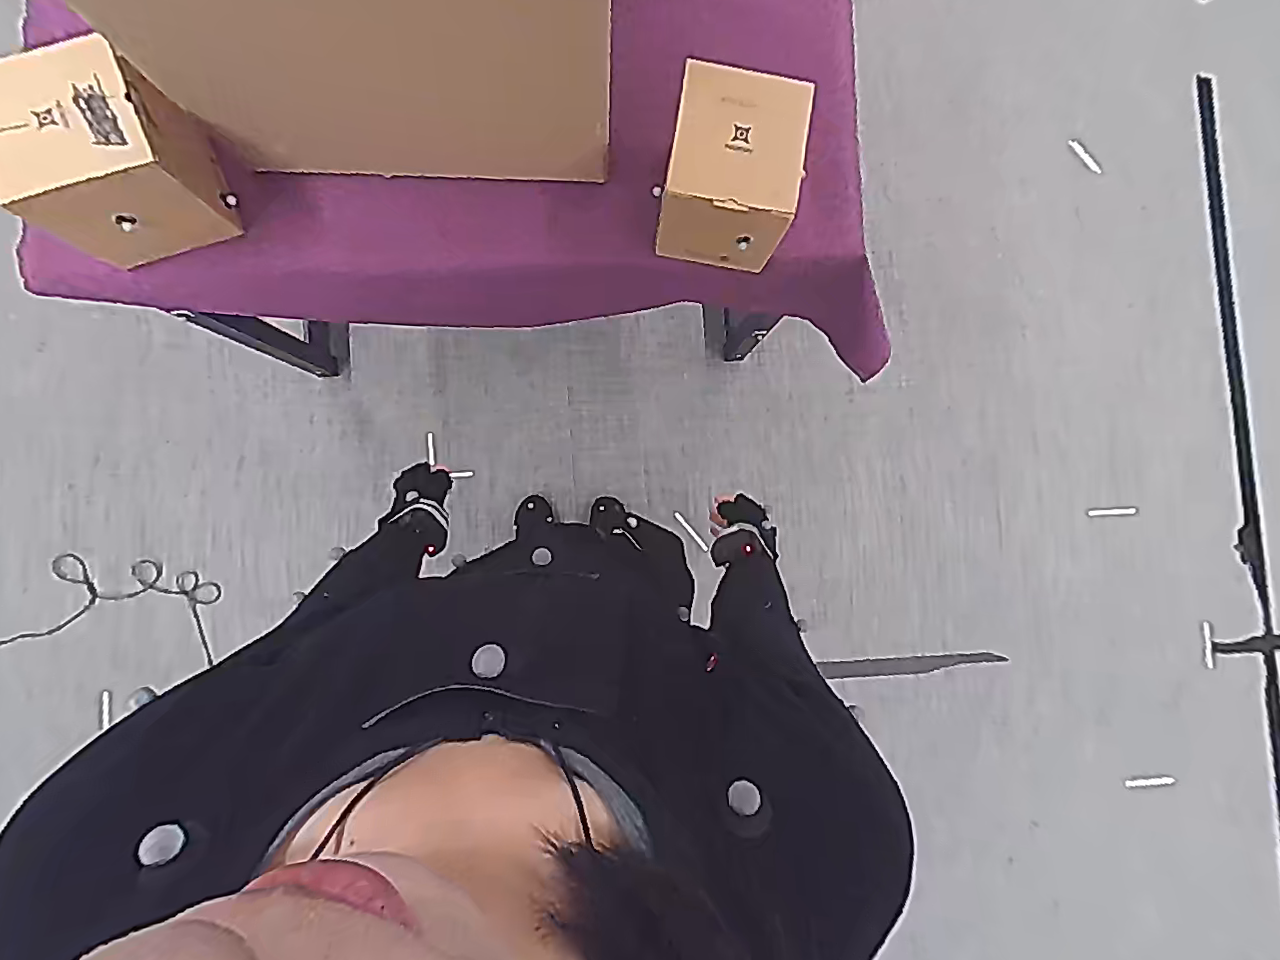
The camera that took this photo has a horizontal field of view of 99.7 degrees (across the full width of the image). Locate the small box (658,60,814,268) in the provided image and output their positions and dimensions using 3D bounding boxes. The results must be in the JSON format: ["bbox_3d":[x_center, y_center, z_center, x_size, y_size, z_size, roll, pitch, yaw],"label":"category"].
[{"bbox_3d":[0.121,-0.419,0.748,0.168,0.176,0.179,9,85,-4],"label":"small box"}]
